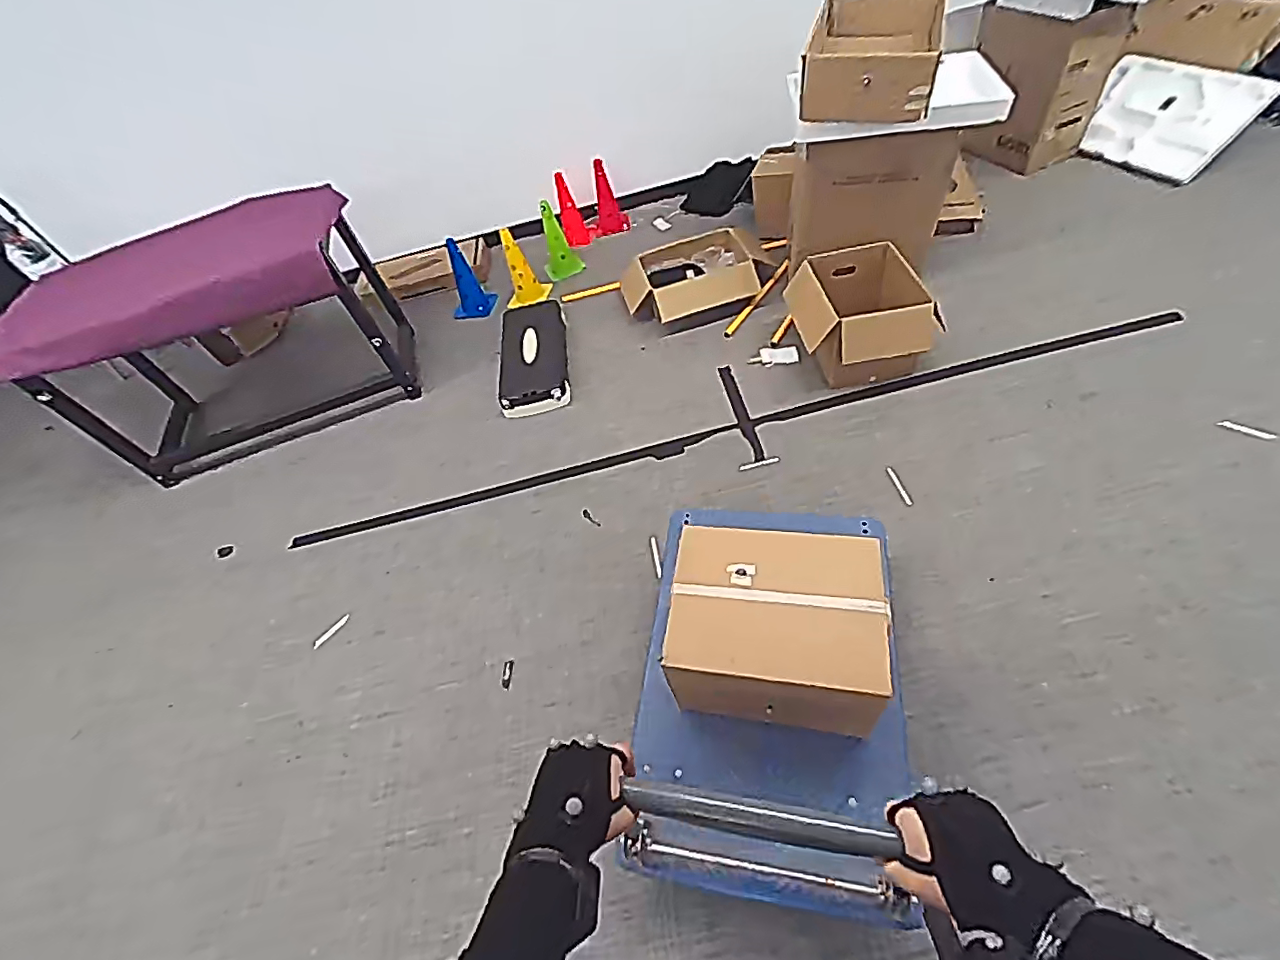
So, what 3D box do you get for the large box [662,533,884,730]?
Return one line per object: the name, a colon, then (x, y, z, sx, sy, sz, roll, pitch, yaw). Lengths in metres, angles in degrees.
large box: (0.289, 0.333, 1.190, 0.408, 0.320, 0.320, 1, 52, 15)
